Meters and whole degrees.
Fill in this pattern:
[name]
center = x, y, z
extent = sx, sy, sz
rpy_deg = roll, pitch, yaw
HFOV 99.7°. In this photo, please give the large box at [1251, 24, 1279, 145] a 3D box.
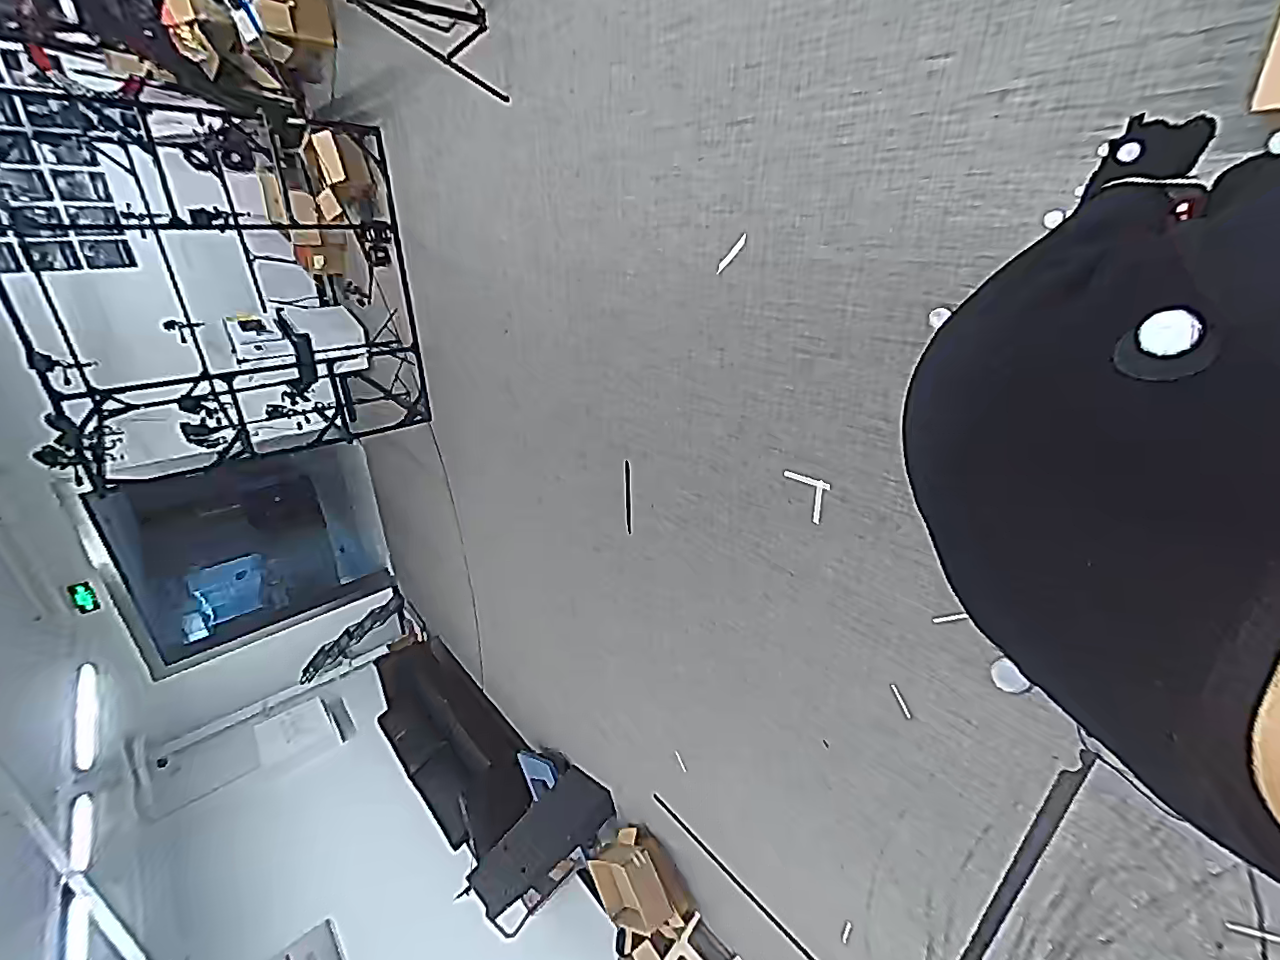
[large box]
center = 1.077, -0.627, 0.647
extent = 0.408, 0.320, 0.320
rpy_deg = 21, 122, 44
